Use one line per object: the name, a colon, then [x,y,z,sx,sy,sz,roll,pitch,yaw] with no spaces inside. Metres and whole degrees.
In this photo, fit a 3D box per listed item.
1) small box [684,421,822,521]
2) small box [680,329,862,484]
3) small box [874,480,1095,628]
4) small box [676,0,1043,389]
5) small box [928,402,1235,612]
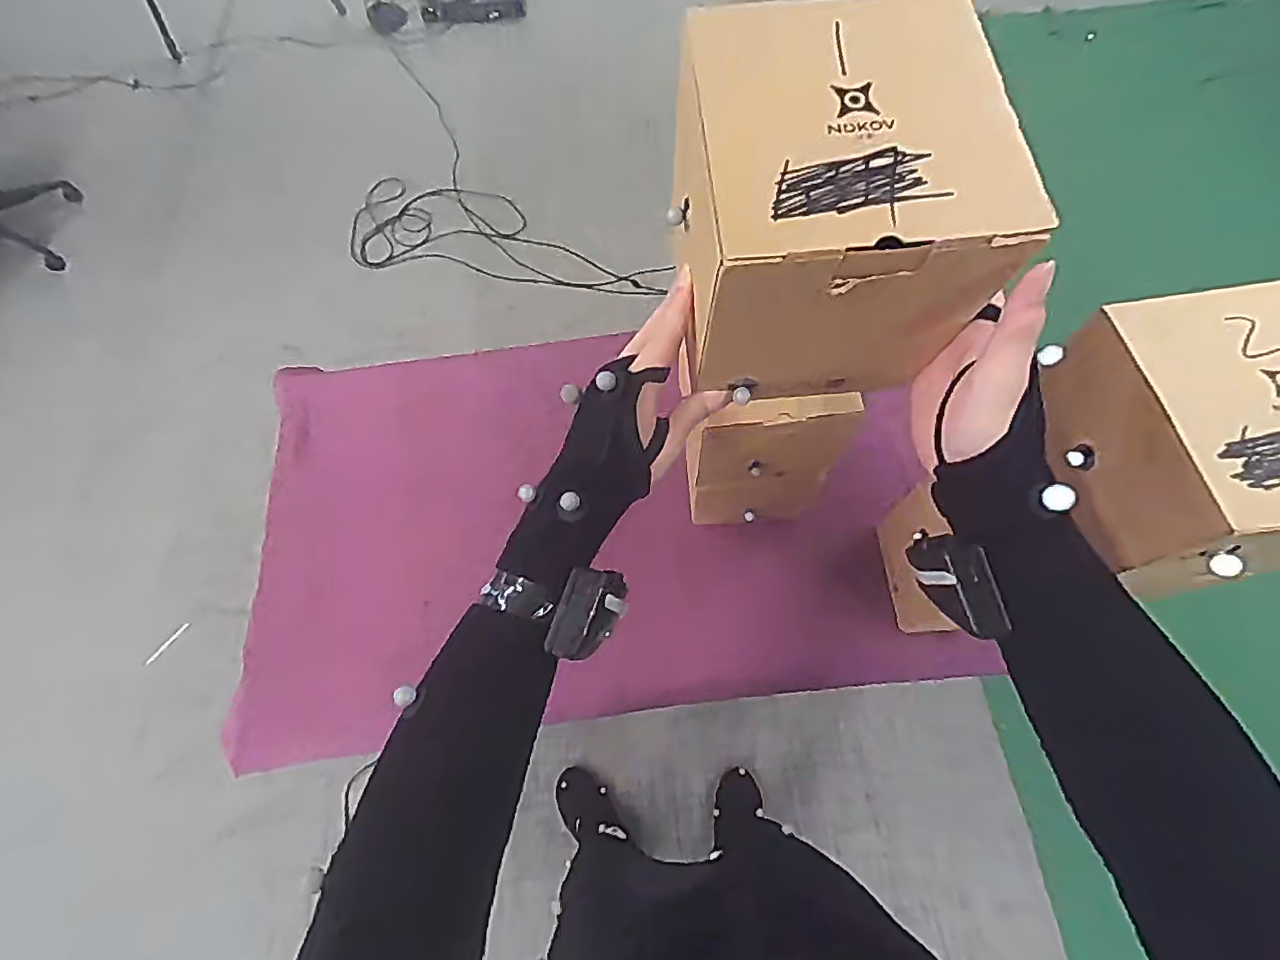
small box: [0.154,-0.050,0.803,0.168,0.176,0.179,-3,68,2]
small box: [0.140,-0.110,0.652,0.168,0.176,0.179,-6,69,0]
small box: [0.444,0.103,0.726,0.179,0.176,0.168,-3,67,2]
small box: [0.115,-0.172,0.368,0.168,0.176,0.179,-4,73,-1]
small box: [0.437,0.037,0.577,0.168,0.176,0.179,-4,68,3]
